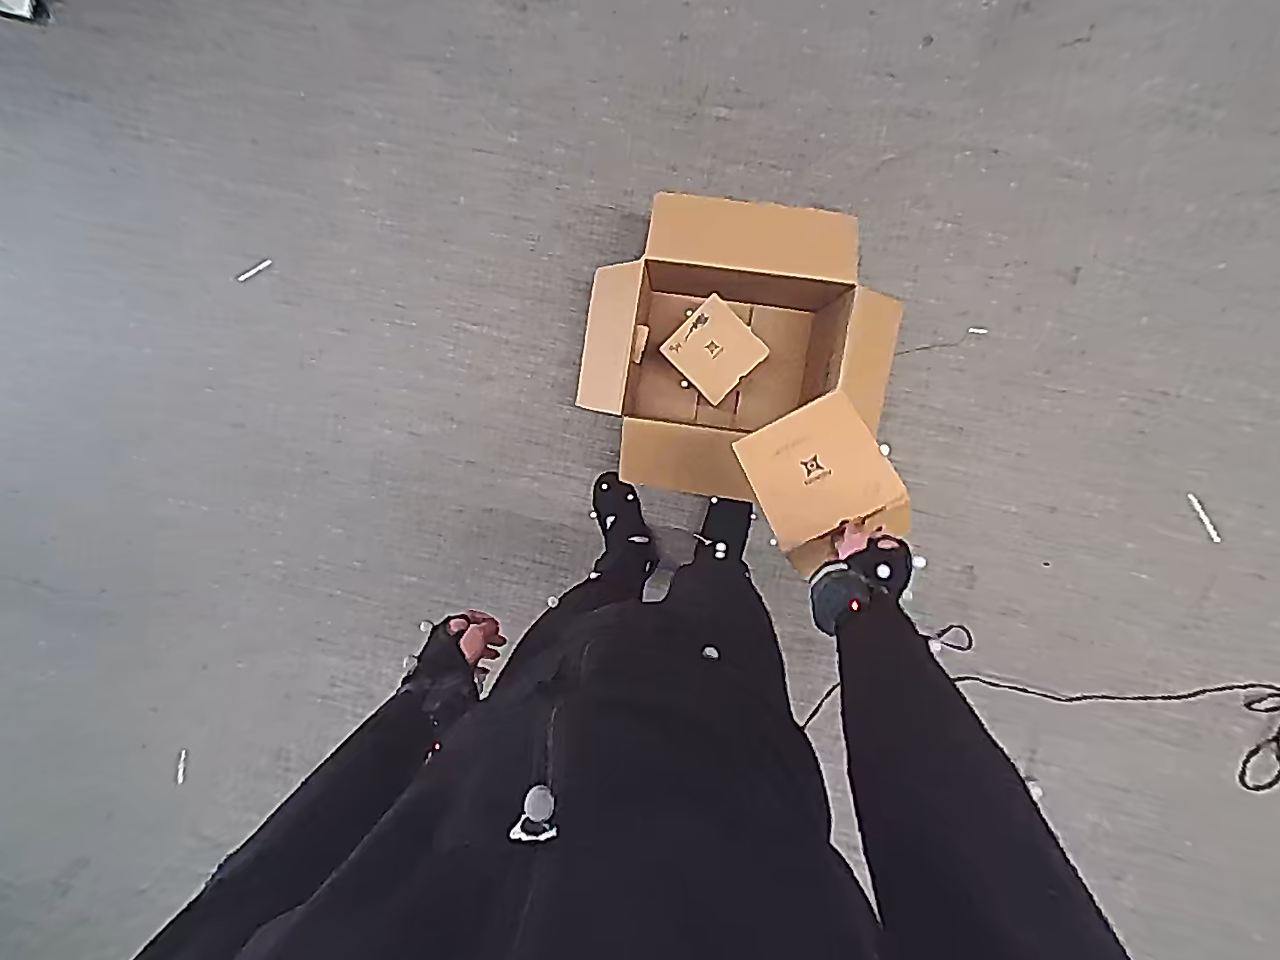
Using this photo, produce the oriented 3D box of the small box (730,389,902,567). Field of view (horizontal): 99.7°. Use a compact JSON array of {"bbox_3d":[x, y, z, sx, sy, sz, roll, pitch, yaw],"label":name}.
[{"bbox_3d":[0.254,0.010,0.772,0.168,0.176,0.179,-28,58,12],"label":"small box"}]
